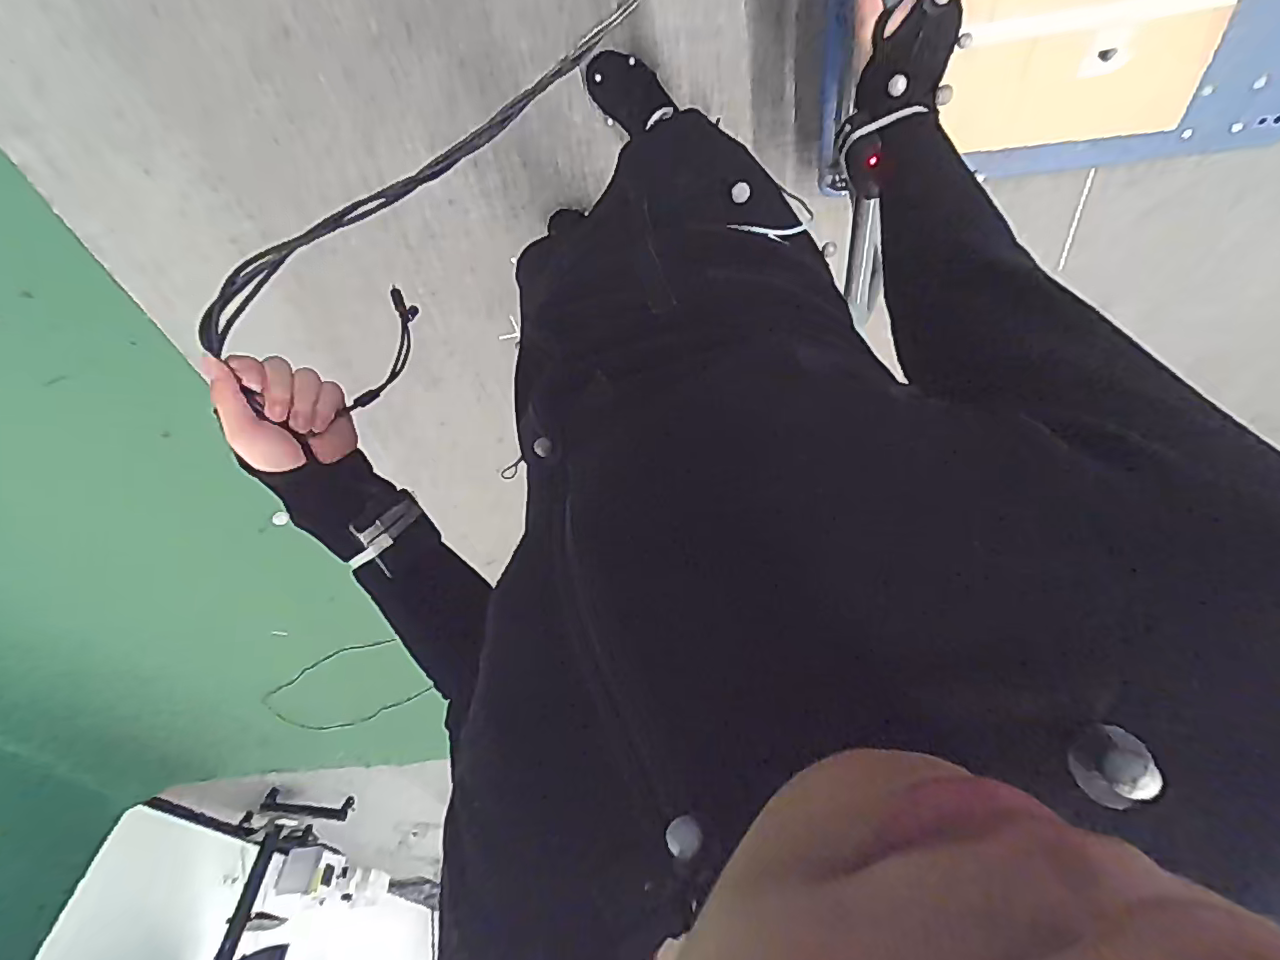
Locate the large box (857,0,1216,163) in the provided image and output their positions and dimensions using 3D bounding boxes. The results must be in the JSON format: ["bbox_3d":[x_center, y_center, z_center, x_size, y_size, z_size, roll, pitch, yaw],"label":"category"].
[{"bbox_3d":[0.596,-0.745,0.867,0.408,0.320,0.320,-1,135,10],"label":"large box"}]
